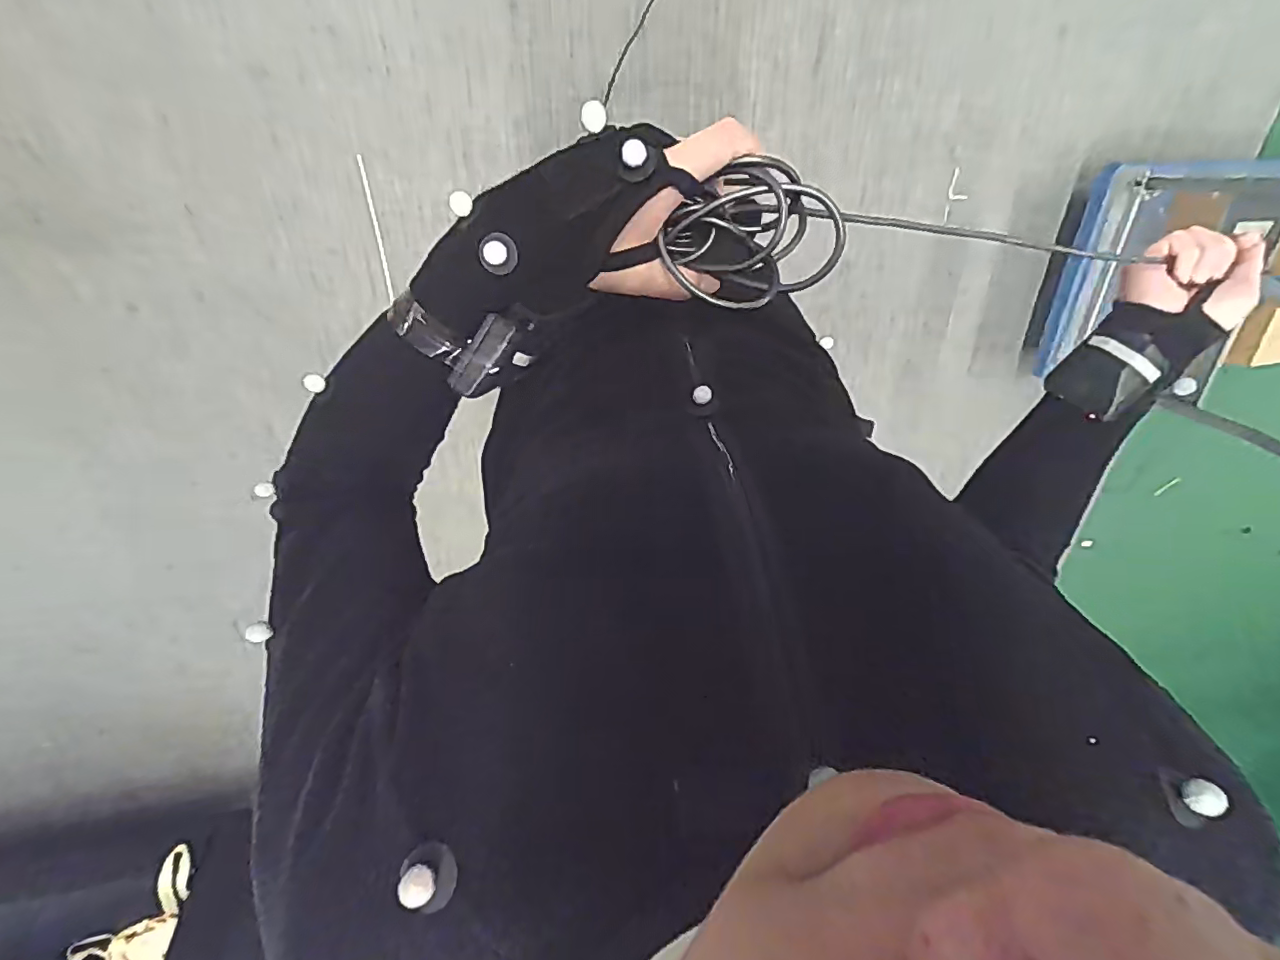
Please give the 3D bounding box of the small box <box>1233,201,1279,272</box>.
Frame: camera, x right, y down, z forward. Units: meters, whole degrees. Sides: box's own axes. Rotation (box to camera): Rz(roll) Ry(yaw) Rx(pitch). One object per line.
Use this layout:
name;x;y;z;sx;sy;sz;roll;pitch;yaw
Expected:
small box;1.776;-0.655;1.447;0.179;0.176;0.168;-8;120;-6

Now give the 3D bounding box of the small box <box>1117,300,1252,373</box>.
small box;1.531;-0.412;1.534;0.179;0.176;0.168;-4;119;-8

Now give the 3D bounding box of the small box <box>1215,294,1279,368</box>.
small box;1.798;-0.436;1.570;0.179;0.176;0.168;-8;119;-5
